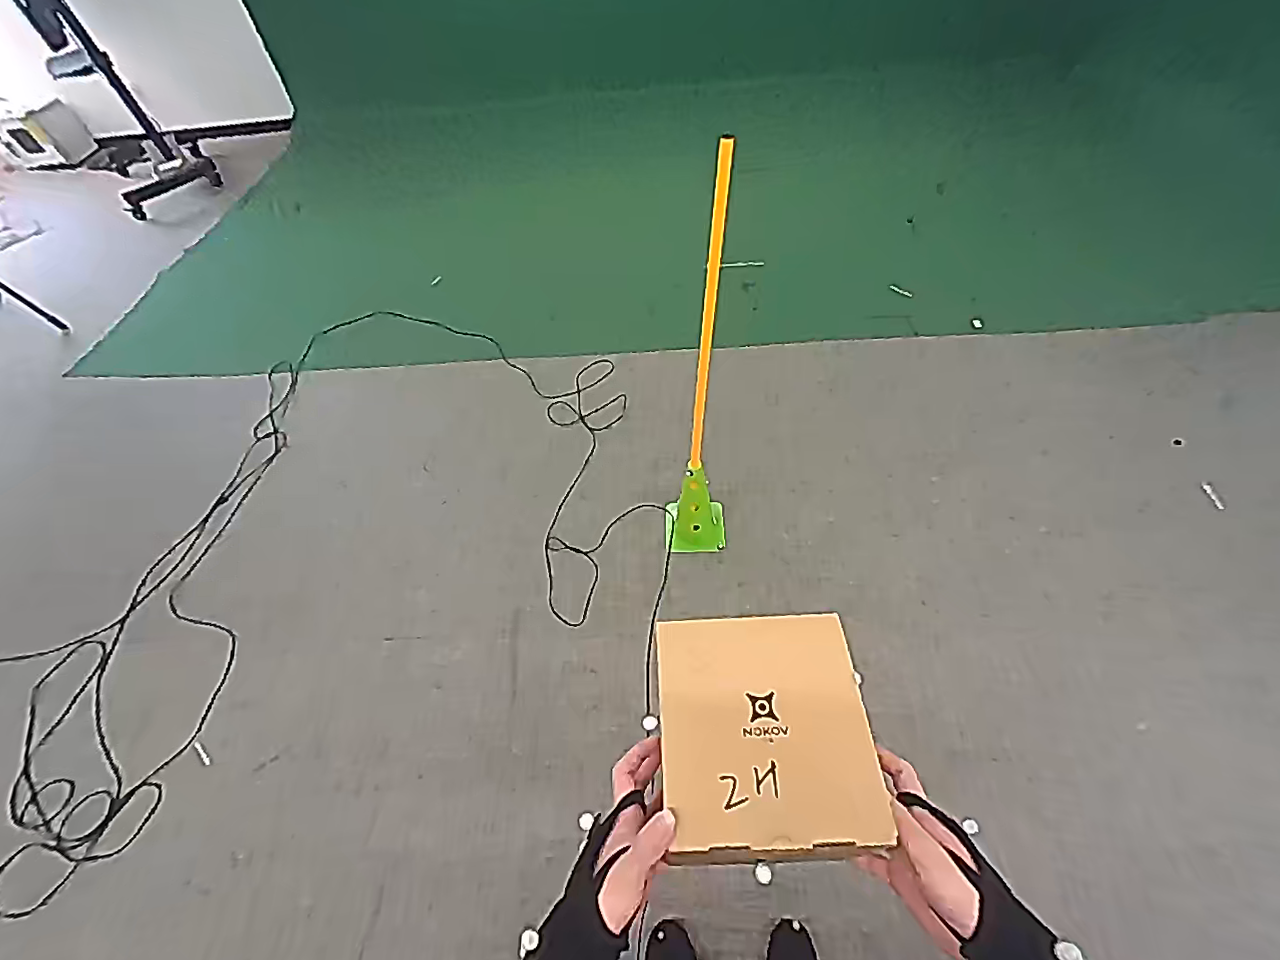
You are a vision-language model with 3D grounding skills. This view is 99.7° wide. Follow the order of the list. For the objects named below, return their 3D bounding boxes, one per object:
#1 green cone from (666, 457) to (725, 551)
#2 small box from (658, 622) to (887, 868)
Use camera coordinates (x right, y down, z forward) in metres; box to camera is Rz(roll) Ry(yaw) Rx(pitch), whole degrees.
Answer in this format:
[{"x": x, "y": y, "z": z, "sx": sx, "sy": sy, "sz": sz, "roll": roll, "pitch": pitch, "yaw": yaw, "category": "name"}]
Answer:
[{"x": 0.175, "y": 0.052, "z": 1.743, "sx": 0.202, "sy": 0.368, "sz": 0.200, "roll": -2, "pitch": 52, "yaw": 5, "category": "green cone"}, {"x": 0.100, "y": 0.249, "z": 0.503, "sx": 0.168, "sy": 0.176, "sz": 0.179, "roll": -2, "pitch": 52, "yaw": 2, "category": "small box"}]
